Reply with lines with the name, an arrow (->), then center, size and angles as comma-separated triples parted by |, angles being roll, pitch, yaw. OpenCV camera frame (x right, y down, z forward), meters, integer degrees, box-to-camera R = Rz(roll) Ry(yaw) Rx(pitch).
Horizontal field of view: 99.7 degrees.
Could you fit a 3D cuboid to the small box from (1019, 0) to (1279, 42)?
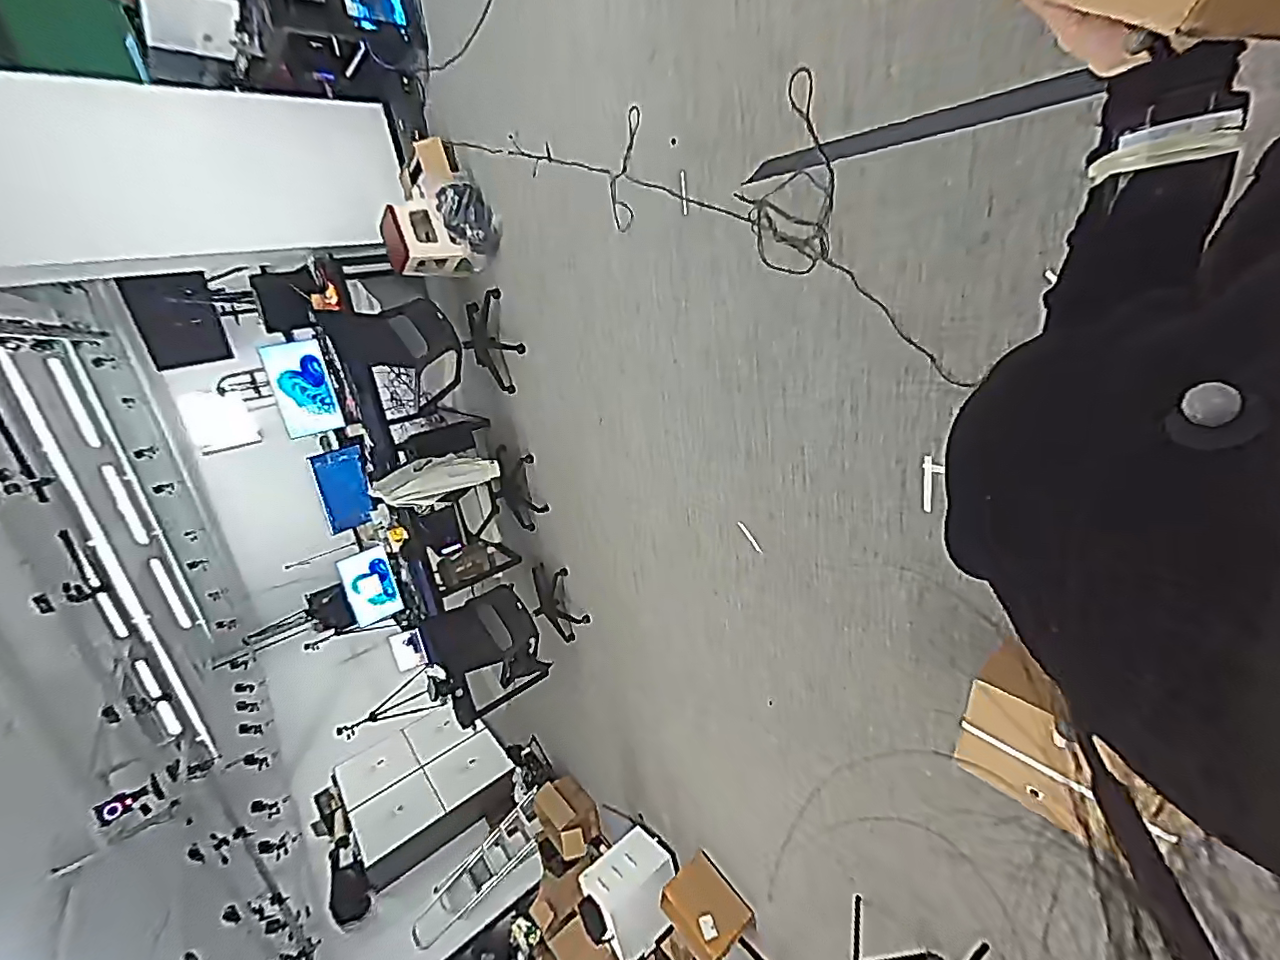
small box -> 0.260, -0.324, 0.243 | 0.179, 0.176, 0.168 | 54, 151, 31
